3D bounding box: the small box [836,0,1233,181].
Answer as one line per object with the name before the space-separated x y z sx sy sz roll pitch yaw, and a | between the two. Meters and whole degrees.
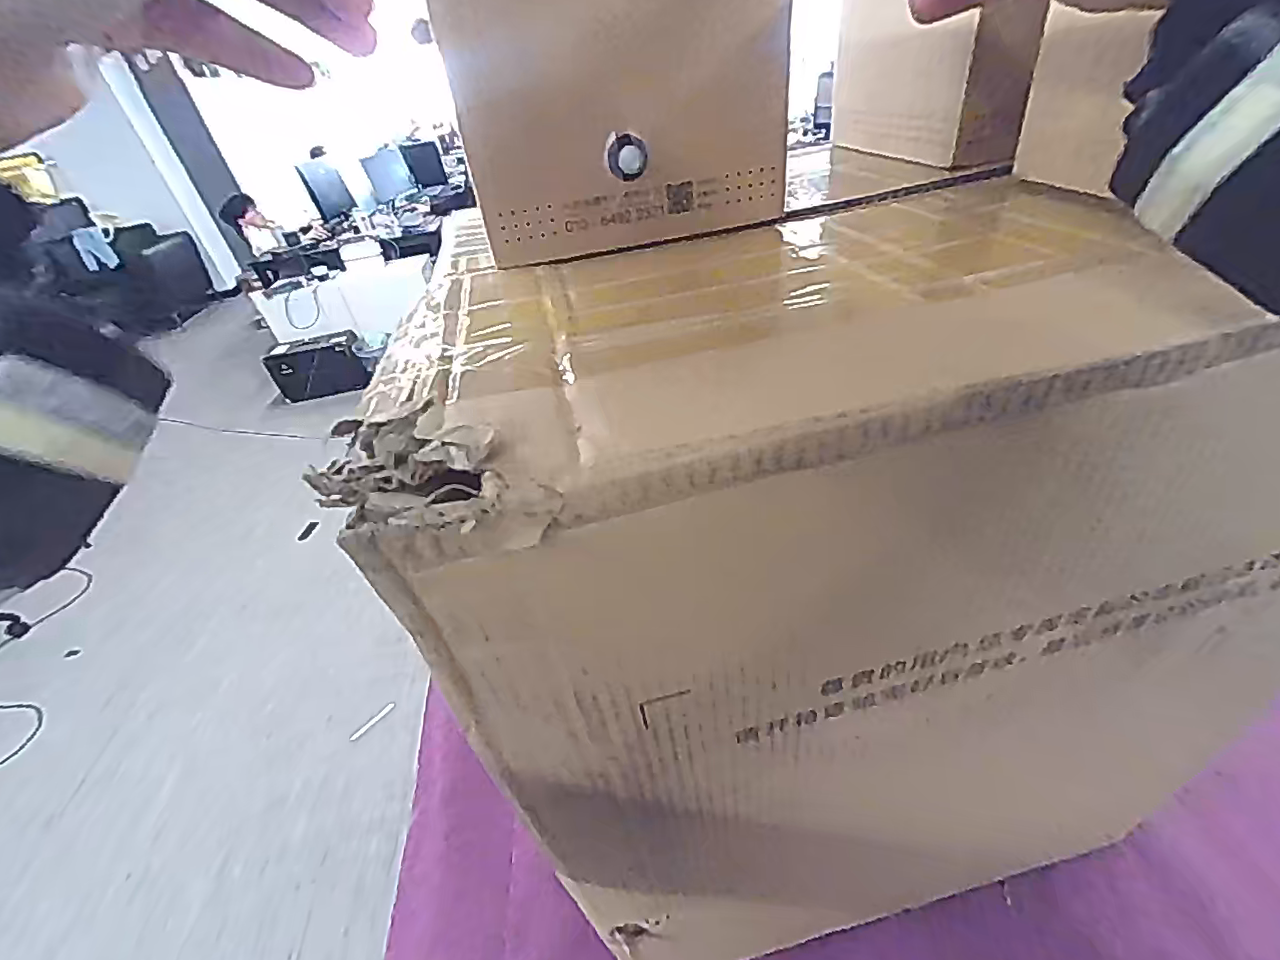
small box | 0.248 -0.316 0.368 0.168 0.176 0.179 -13 37 -2
